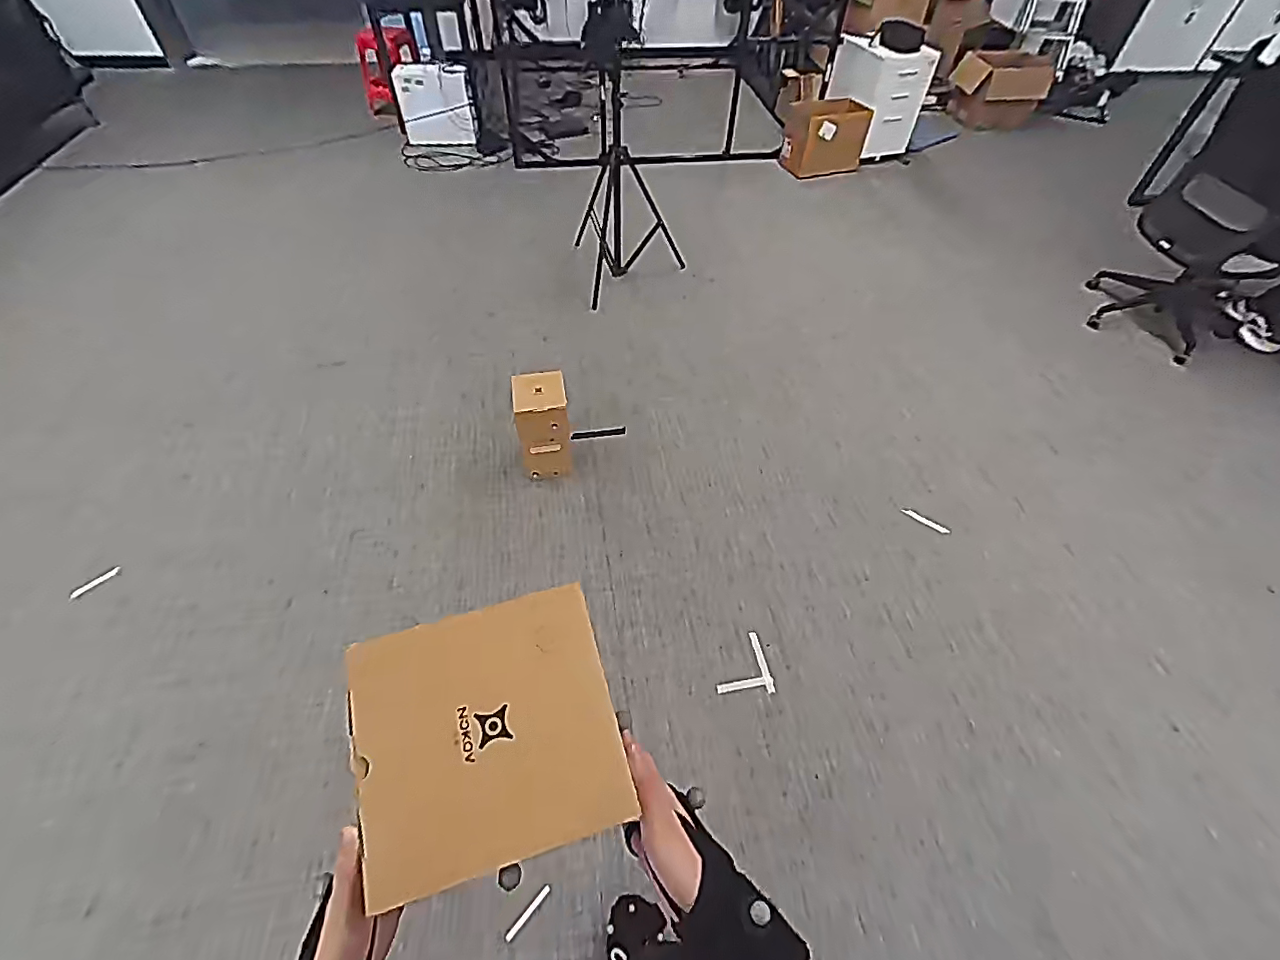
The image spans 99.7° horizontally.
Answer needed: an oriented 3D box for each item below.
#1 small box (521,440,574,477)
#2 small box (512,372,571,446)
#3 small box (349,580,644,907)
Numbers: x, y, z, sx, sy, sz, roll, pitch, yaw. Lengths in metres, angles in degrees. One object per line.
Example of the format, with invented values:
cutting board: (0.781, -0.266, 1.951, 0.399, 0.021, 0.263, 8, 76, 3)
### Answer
small box: (-0.326, -0.124, 1.901, 0.168, 0.176, 0.179, -8, 51, -7)
small box: (-0.321, -0.226, 1.775, 0.168, 0.176, 0.179, -8, 51, -9)
small box: (-0.109, 0.199, 0.444, 0.179, 0.176, 0.168, -15, 67, -11)
